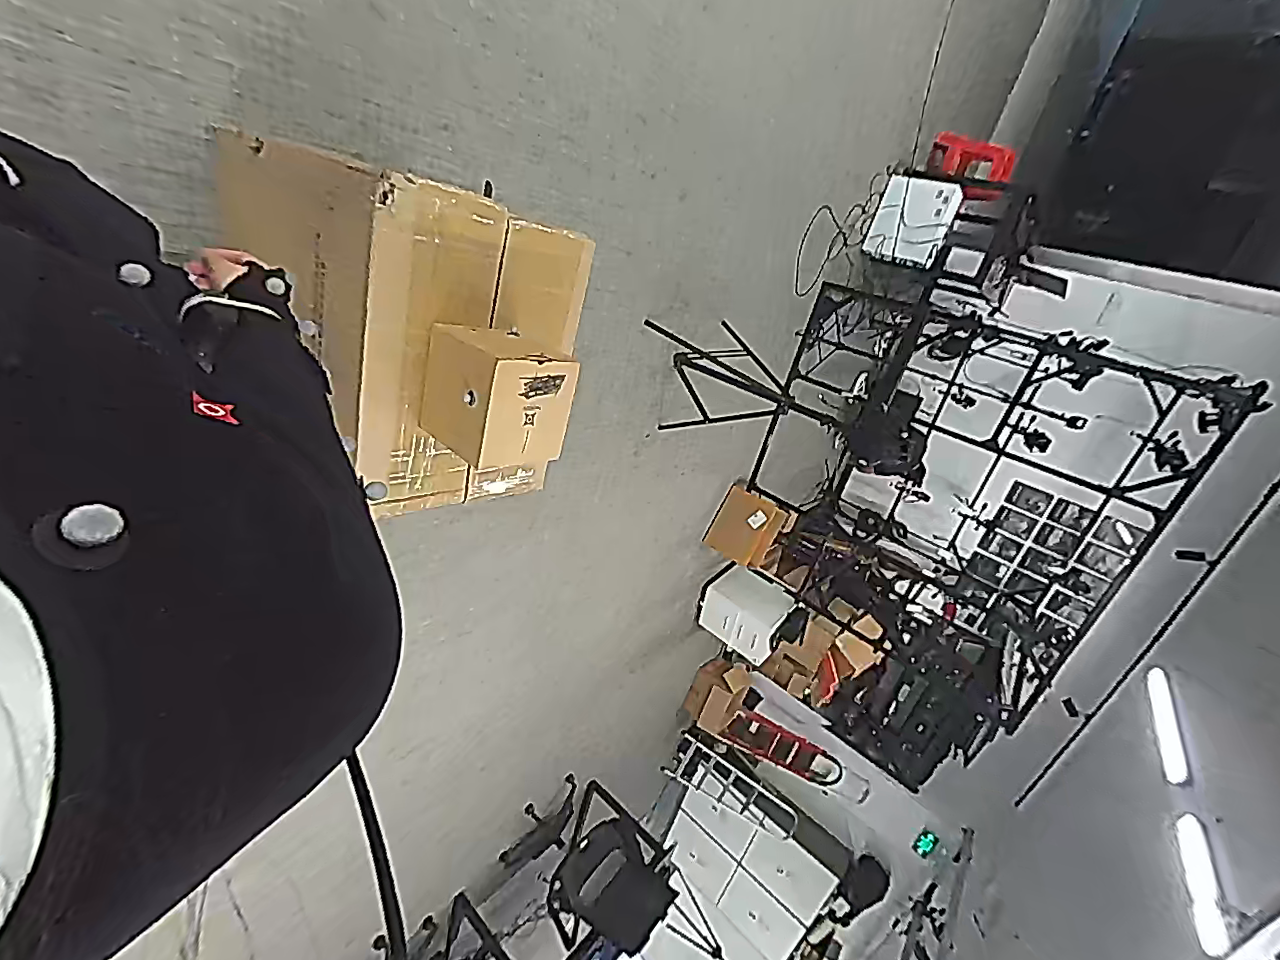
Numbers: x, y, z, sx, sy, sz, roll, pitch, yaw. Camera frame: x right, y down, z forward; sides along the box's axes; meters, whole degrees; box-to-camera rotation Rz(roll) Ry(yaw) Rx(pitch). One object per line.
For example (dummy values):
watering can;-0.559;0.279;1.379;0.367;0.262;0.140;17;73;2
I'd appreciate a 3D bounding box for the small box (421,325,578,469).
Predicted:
small box;-0.230;-0.138;0.869;0.168;0.176;0.179;-12;126;-51
